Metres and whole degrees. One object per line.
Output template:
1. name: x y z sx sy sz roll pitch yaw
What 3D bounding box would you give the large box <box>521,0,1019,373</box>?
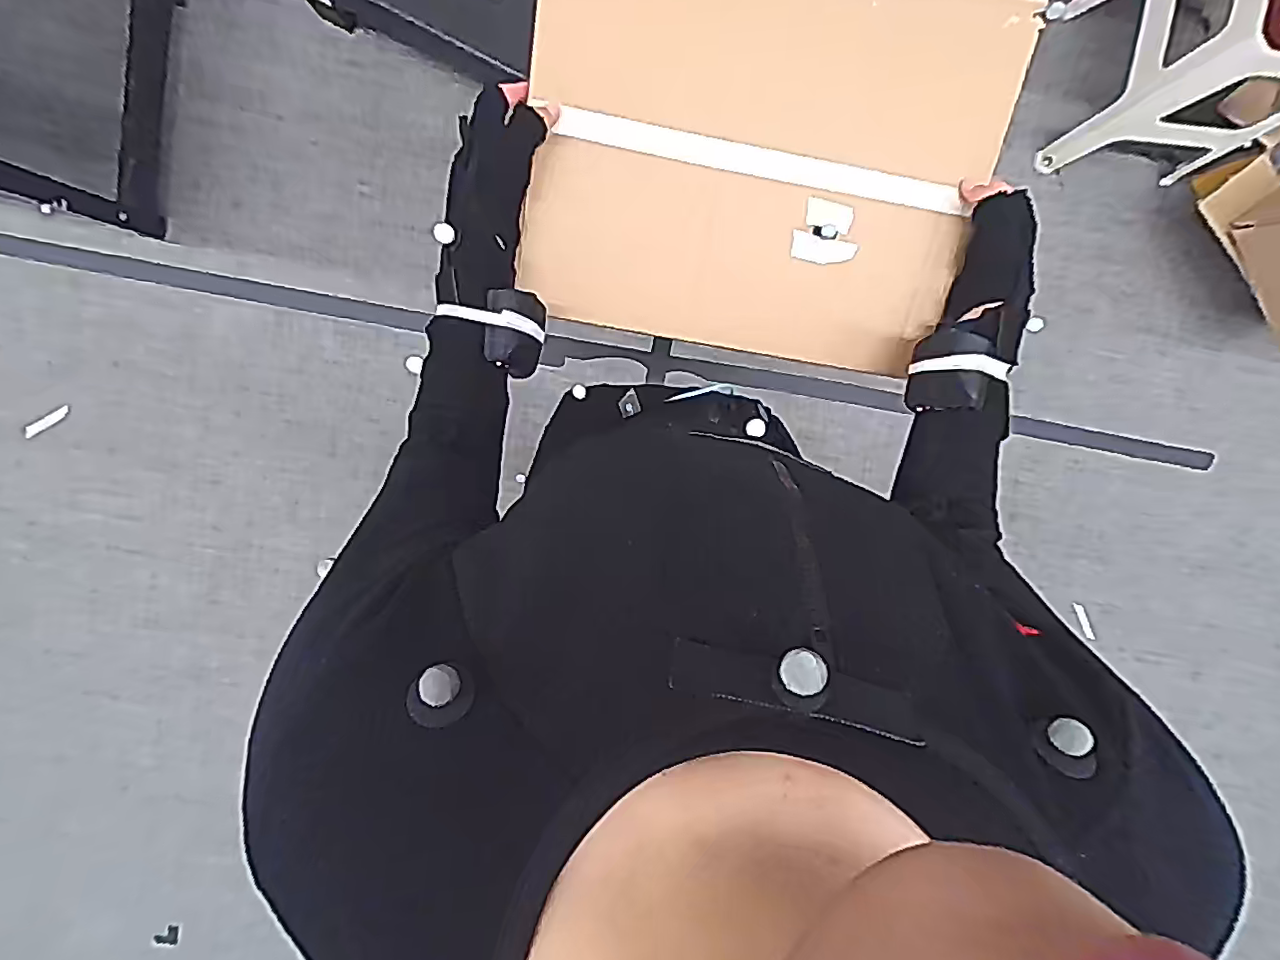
1. large box: 0.093 -0.321 0.620 0.408 0.320 0.320 8 109 -7
